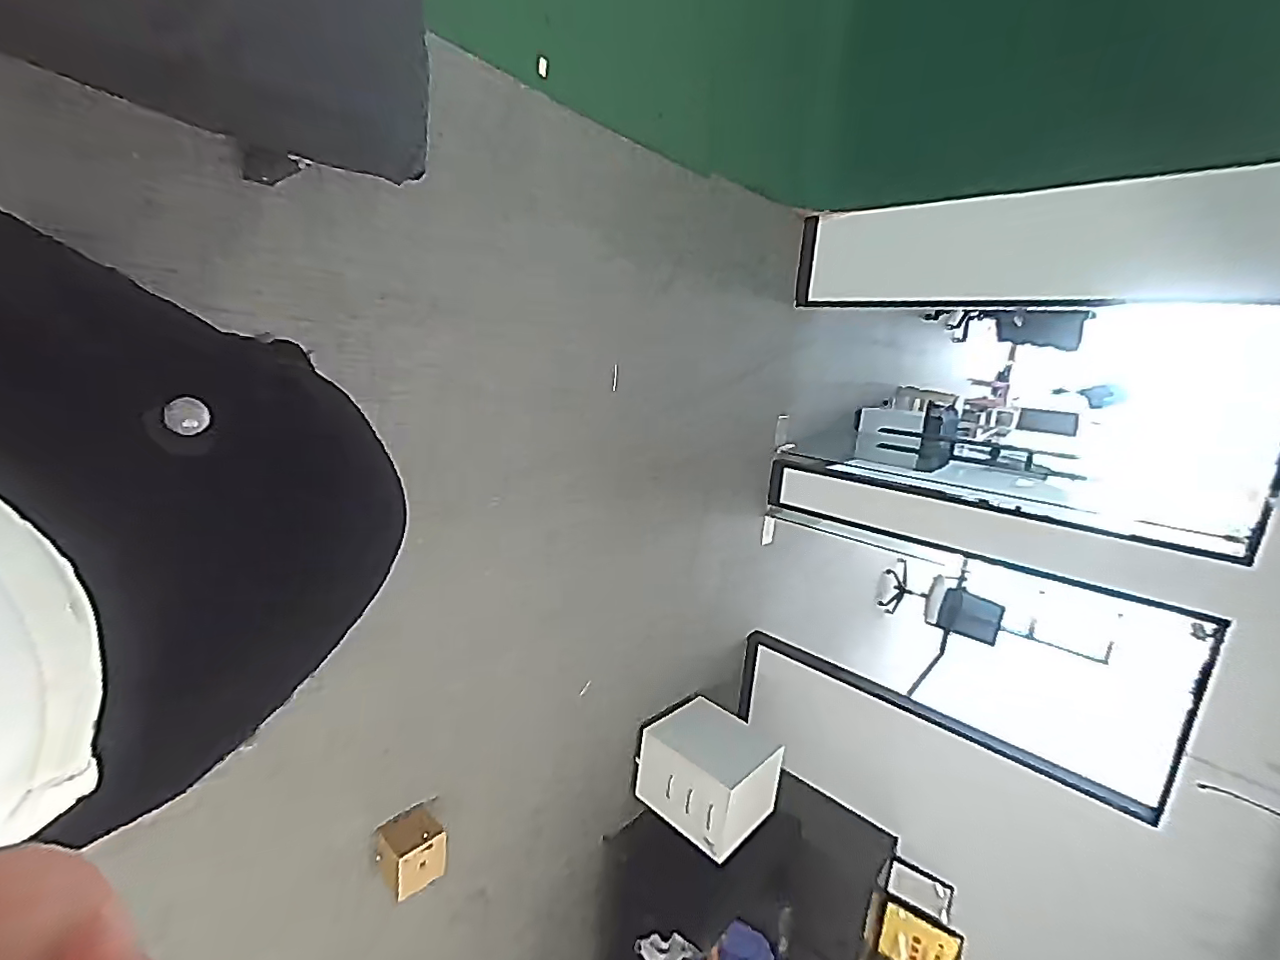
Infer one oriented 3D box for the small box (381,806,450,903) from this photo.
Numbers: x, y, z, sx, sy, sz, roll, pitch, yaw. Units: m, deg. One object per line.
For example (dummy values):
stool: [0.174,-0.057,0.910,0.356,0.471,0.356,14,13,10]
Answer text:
small box: [-0.771,1.272,1.849,0.168,0.176,0.179,-7,107,-48]
